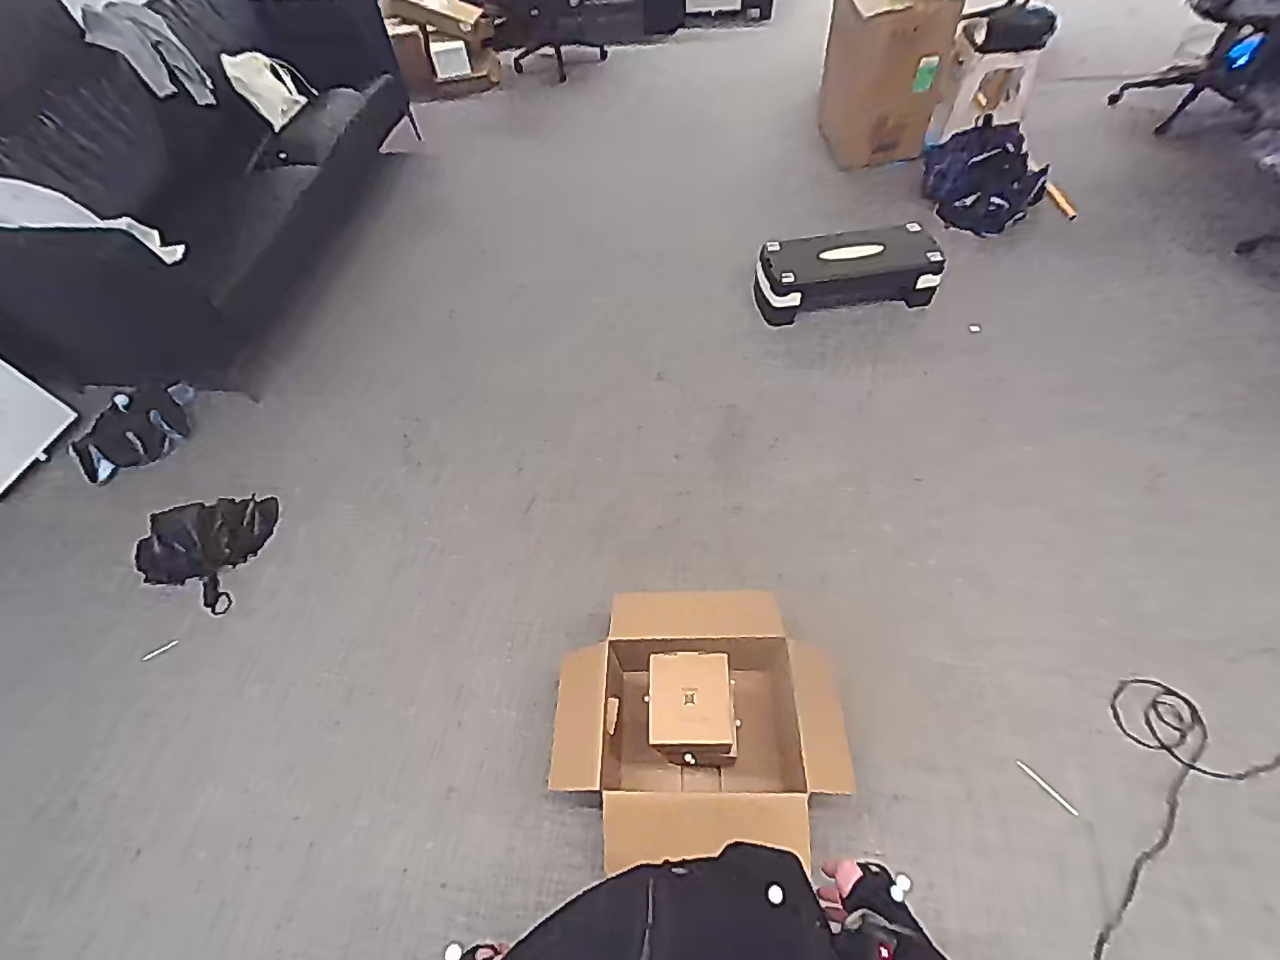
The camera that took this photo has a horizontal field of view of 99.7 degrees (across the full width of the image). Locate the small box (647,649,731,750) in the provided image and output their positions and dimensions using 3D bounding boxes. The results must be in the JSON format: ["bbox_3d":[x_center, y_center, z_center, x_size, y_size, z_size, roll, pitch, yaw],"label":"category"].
[{"bbox_3d":[0.106,0.477,1.168,0.168,0.176,0.179,-3,58,6],"label":"small box"}]
